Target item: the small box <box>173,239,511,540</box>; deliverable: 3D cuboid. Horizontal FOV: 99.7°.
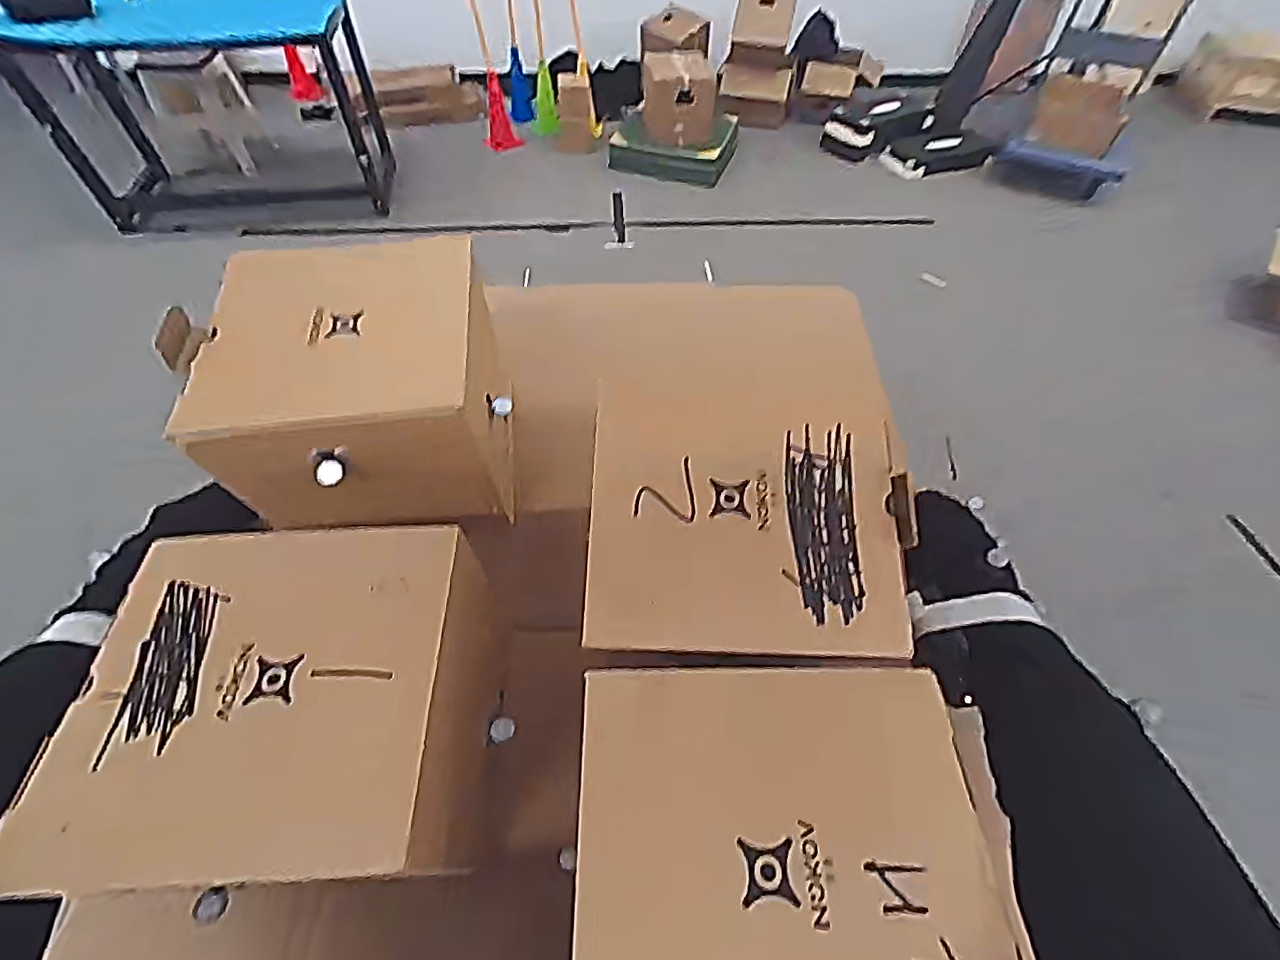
[{"bbox_3d":[-0.204,-0.064,0.437,0.179,0.176,0.168,-6,60,-3],"label":"small box"}]
